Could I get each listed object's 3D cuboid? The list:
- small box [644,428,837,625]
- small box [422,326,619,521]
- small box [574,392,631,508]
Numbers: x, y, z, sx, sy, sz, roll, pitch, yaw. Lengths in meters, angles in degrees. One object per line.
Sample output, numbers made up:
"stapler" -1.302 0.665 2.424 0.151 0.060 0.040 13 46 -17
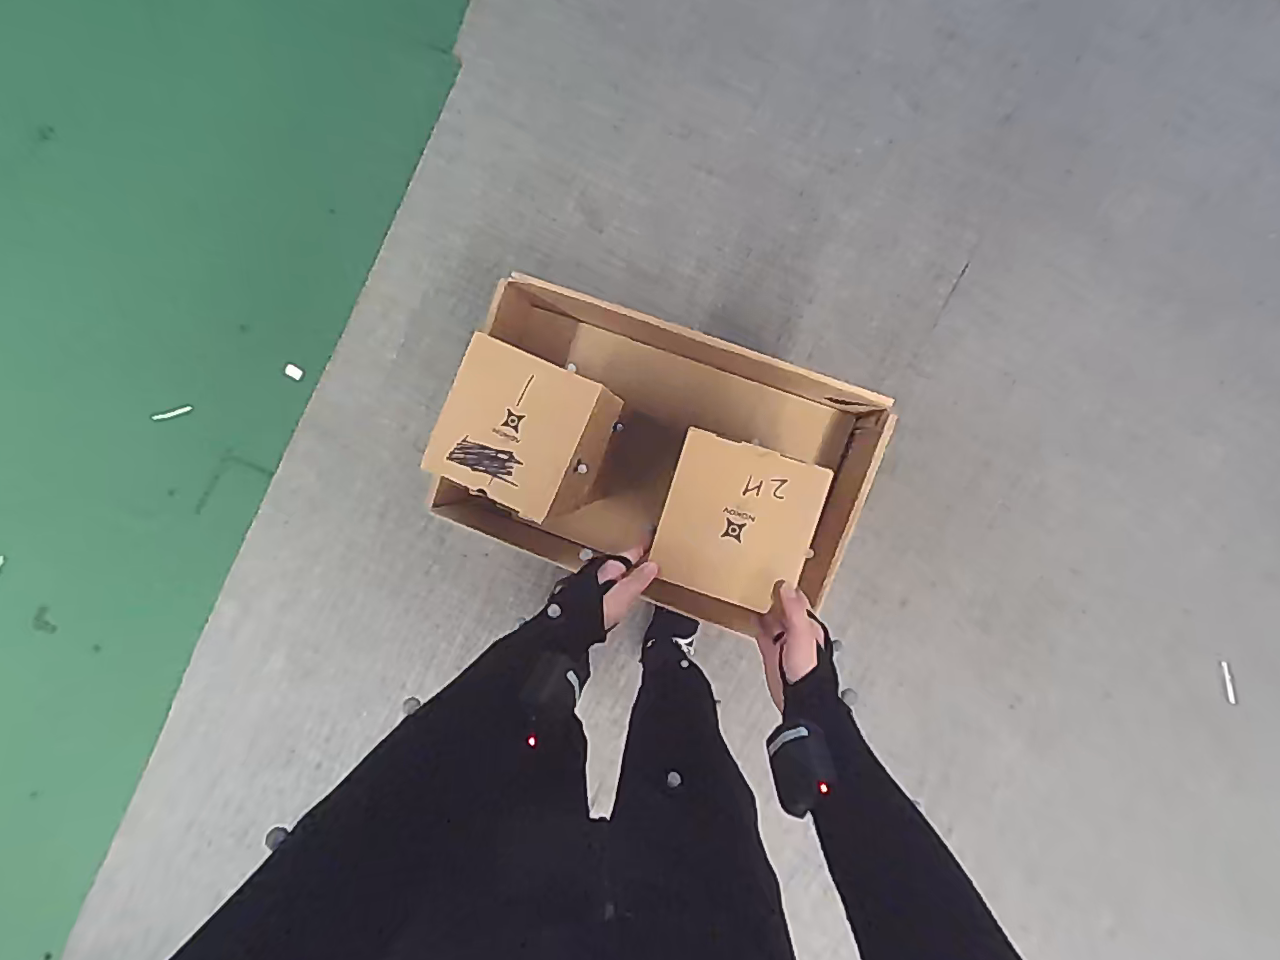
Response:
"small box" 0.117 0.048 0.665 0.168 0.176 0.179 19 93 5
"small box" -0.137 -0.065 0.691 0.168 0.176 0.179 25 93 4
"small box" -0.122 -0.069 0.854 0.168 0.176 0.179 21 93 6
